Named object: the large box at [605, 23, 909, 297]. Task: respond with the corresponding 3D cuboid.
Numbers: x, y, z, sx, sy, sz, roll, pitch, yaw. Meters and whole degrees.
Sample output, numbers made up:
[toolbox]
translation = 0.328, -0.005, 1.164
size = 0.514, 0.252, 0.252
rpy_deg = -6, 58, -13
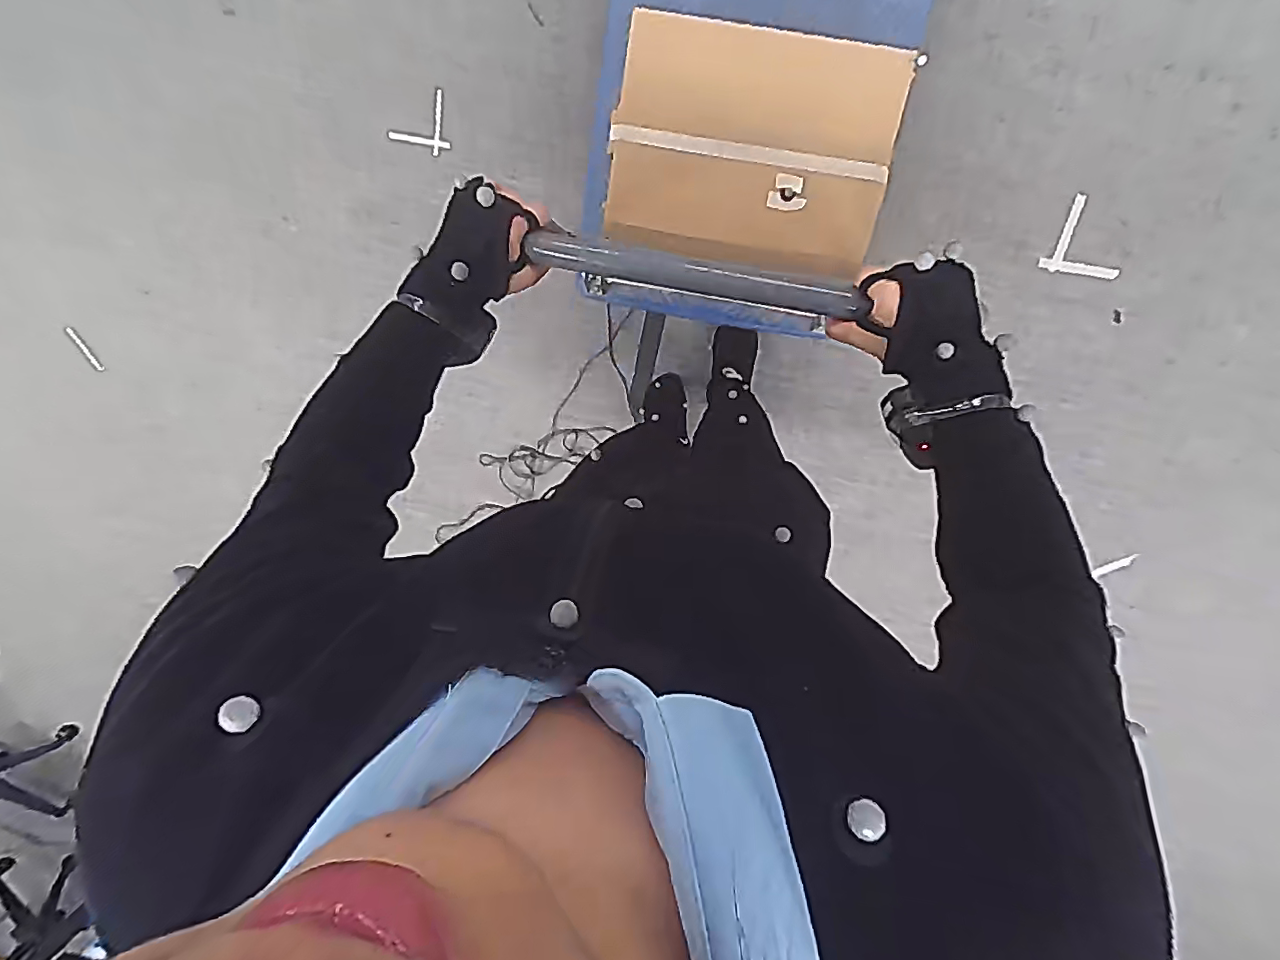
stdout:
[large box]
translation = 0.170, -0.514, 0.946
size = 0.408, 0.320, 0.320
rpy_deg = 10, 108, 1
